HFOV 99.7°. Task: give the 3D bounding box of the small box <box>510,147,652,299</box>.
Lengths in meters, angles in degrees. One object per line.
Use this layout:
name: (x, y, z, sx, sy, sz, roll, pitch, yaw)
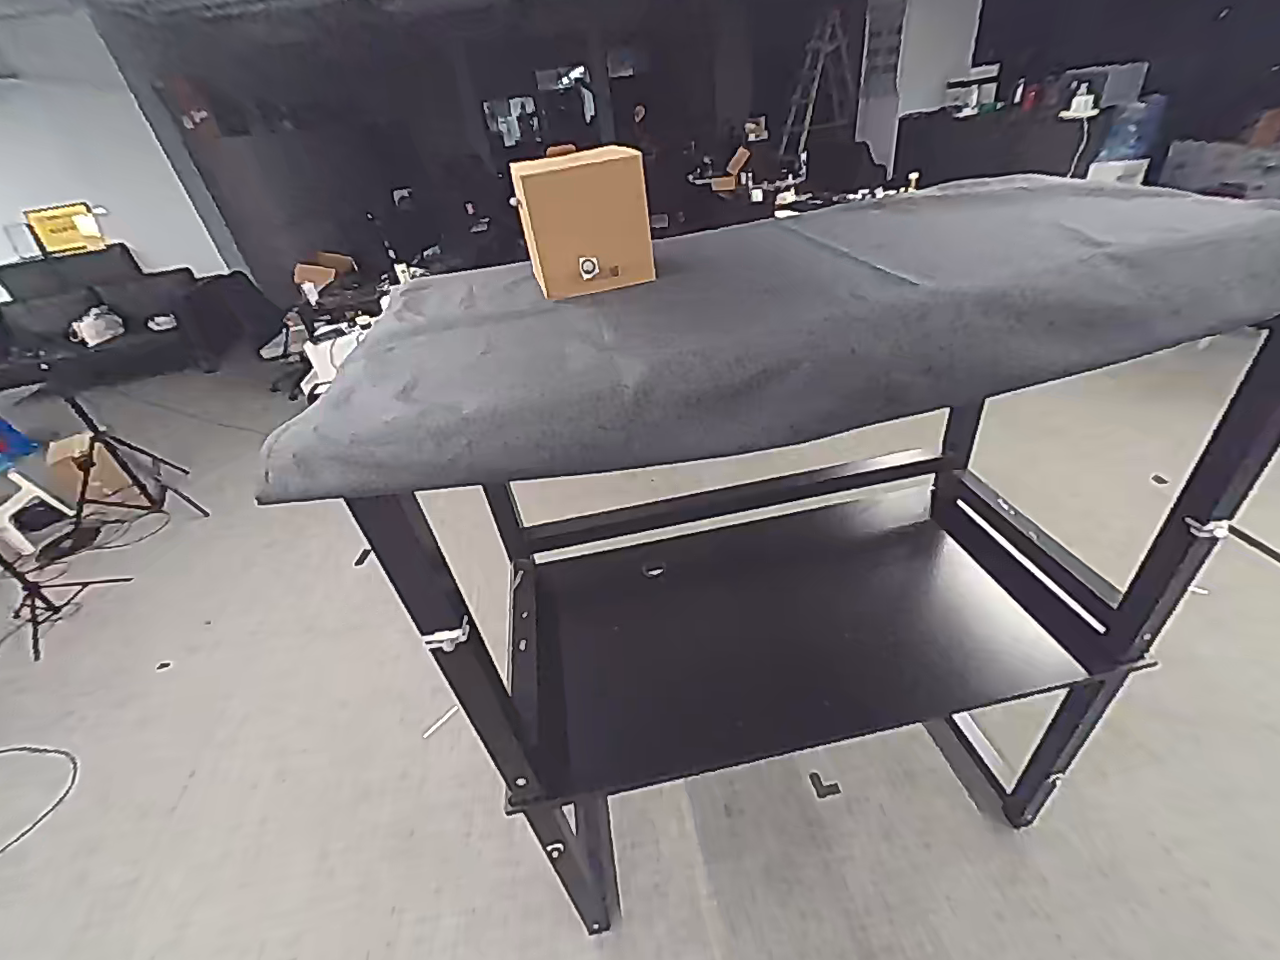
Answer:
small box: (-0.089, -0.383, 0.803, 0.168, 0.176, 0.179, -15, 36, -7)
